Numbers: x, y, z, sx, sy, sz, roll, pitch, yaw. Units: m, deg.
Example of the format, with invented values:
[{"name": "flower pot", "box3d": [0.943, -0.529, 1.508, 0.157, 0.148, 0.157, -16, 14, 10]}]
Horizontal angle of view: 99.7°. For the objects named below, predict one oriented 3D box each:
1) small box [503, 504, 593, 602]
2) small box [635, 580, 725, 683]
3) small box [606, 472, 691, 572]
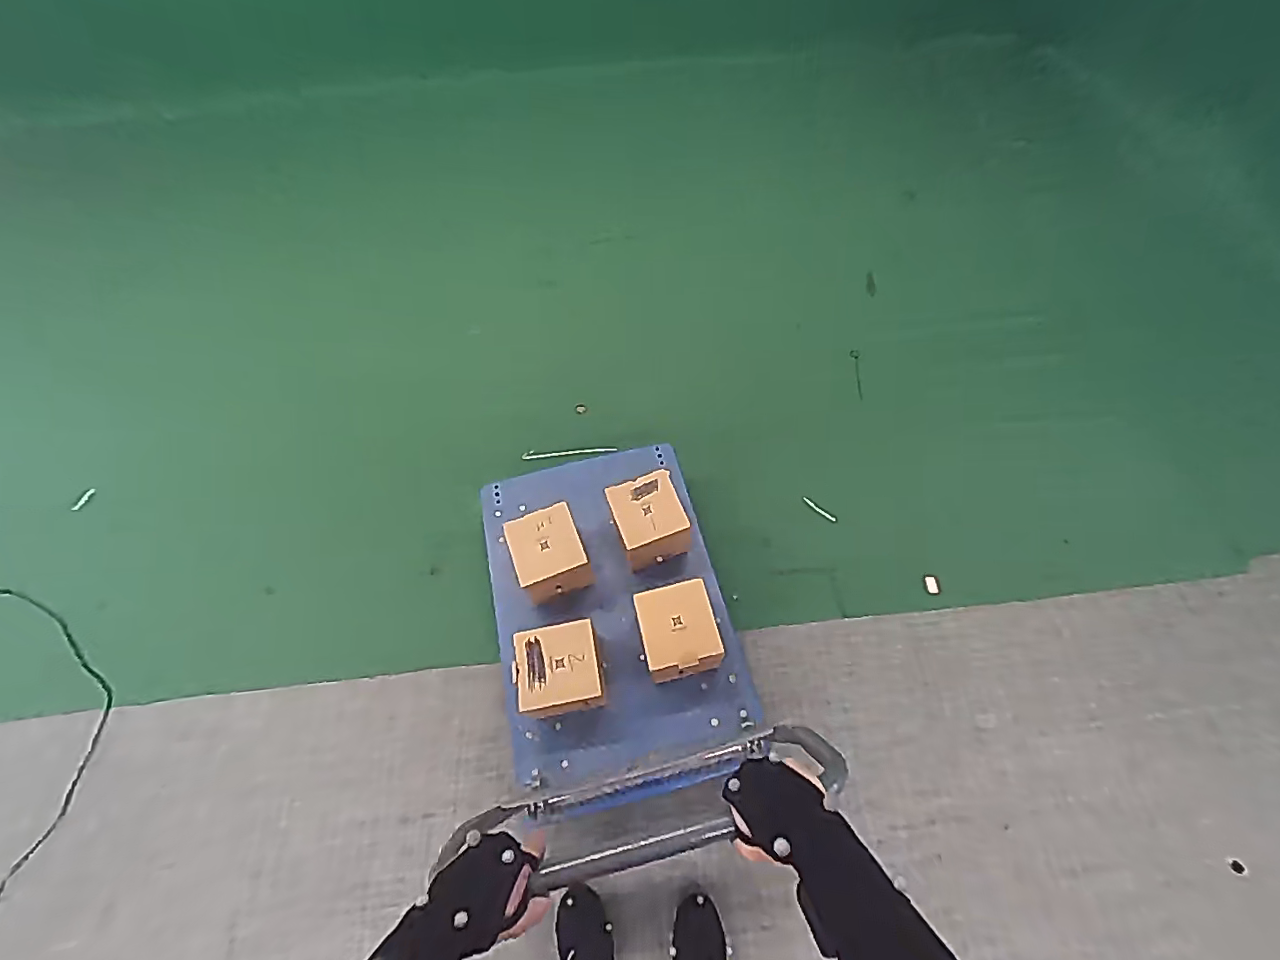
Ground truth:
[{"name": "small box", "box3d": [-0.225, 0.193, 1.356, 0.168, 0.176, 0.179, -20, 63, -9]}, {"name": "small box", "box3d": [0.086, 0.357, 1.258, 0.168, 0.176, 0.179, -13, 63, -5]}, {"name": "small box", "box3d": [0.020, 0.111, 1.390, 0.168, 0.176, 0.179, -20, 63, -8]}]
